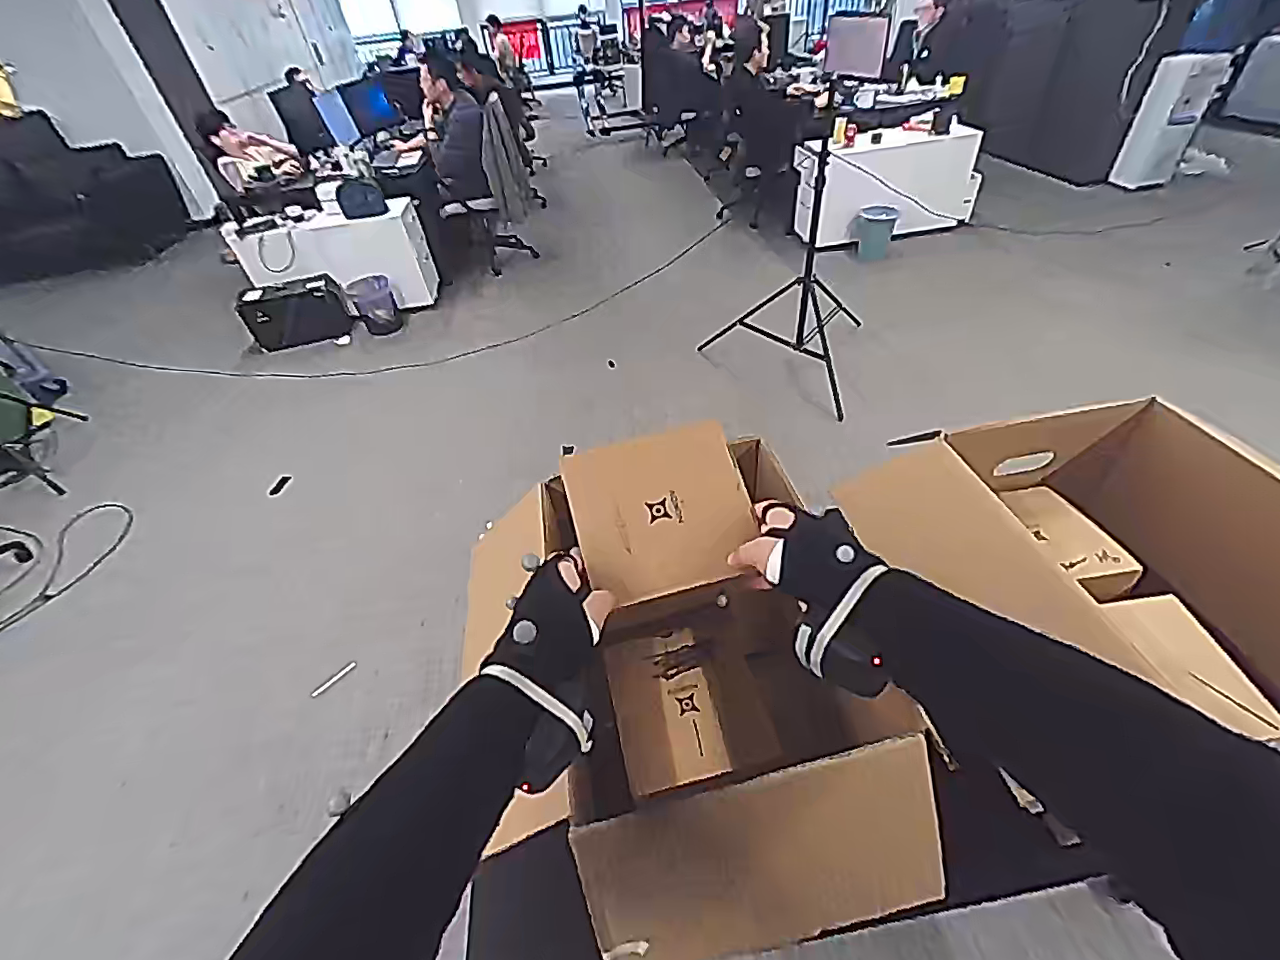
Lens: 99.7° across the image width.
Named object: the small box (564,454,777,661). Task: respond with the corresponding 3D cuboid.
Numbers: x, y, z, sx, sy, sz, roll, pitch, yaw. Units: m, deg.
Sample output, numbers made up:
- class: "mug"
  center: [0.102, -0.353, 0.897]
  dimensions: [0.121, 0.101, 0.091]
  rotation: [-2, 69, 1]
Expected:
- class: "small box"
  center: [0.025, 0.093, 0.595]
  dimensions: [0.179, 0.176, 0.168]
  rotation: [-14, 68, -5]
